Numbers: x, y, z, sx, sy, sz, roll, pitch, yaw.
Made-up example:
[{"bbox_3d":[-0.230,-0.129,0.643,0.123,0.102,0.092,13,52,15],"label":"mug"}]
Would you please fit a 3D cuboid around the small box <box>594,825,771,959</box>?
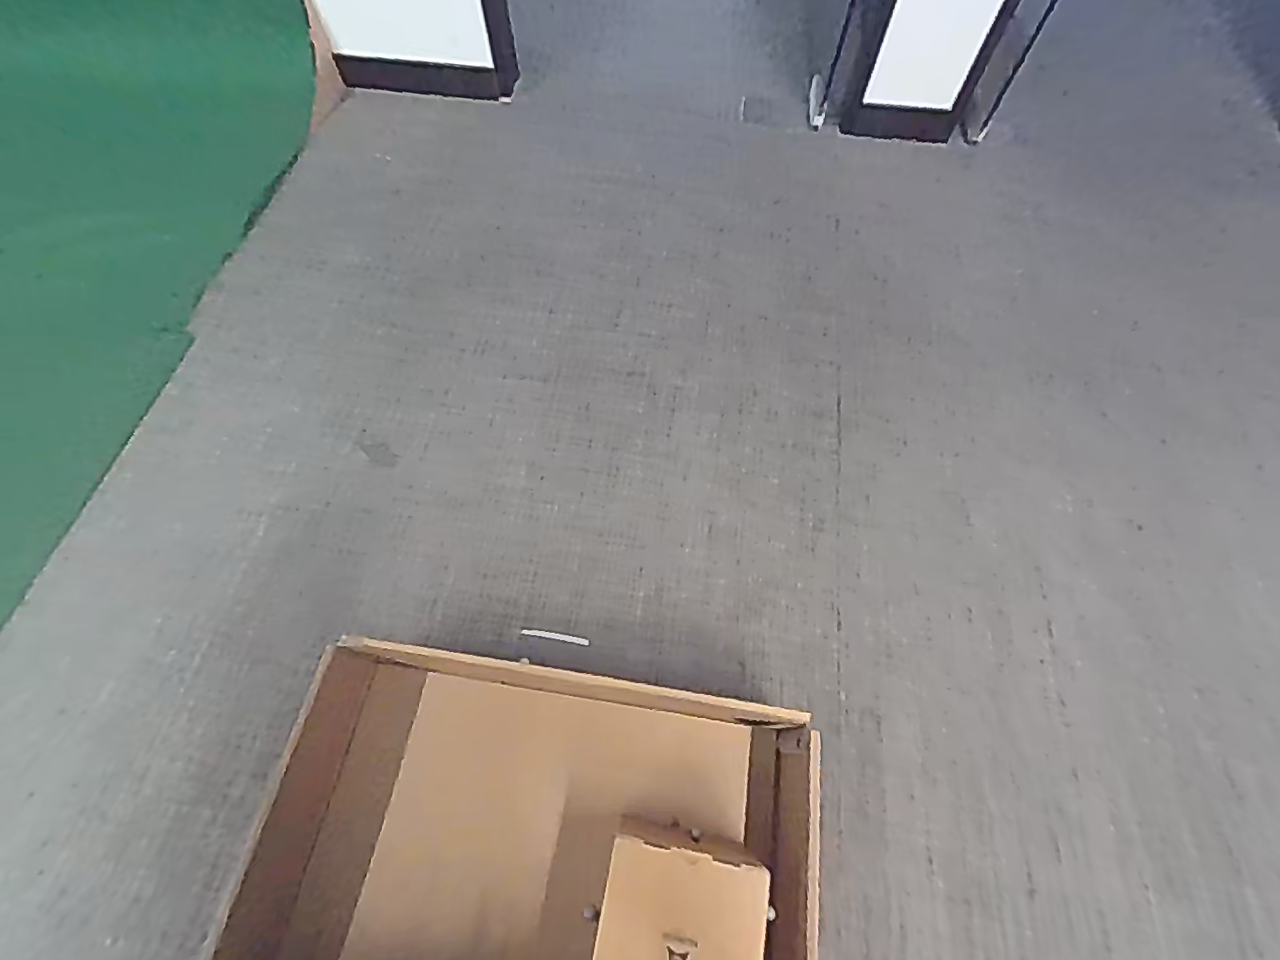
[{"bbox_3d":[0.039,0.507,0.598,0.168,0.176,0.179,10,63,5],"label":"small box"}]
